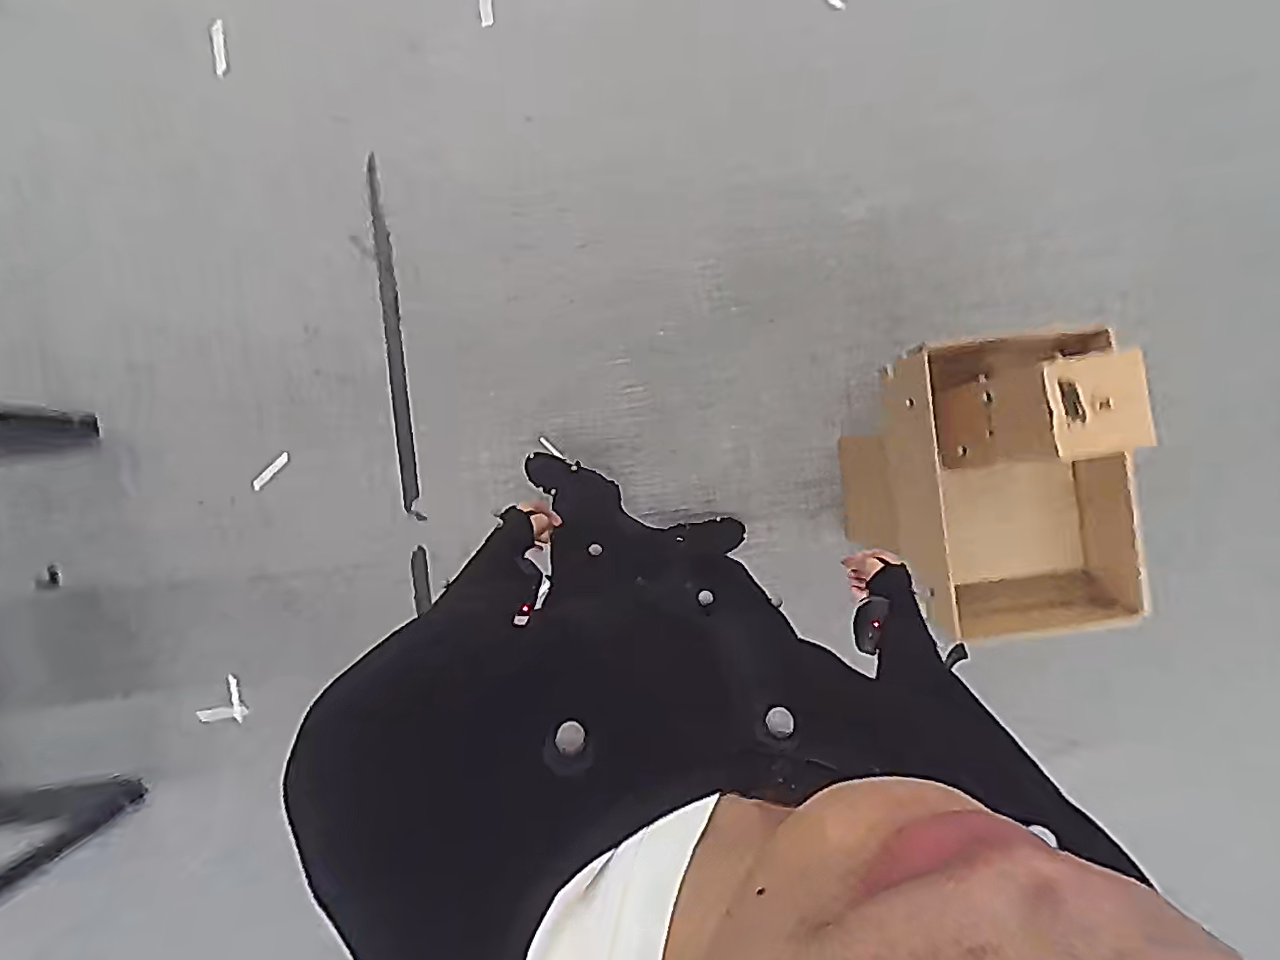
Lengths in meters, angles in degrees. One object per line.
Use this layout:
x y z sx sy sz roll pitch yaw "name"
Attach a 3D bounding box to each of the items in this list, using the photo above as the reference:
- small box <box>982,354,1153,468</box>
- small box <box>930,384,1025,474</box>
0.754 -0.116 0.978 0.179 0.176 0.168 -10 90 -2 "small box"
0.747 -0.113 1.142 0.168 0.176 0.179 -11 89 -1 "small box"
